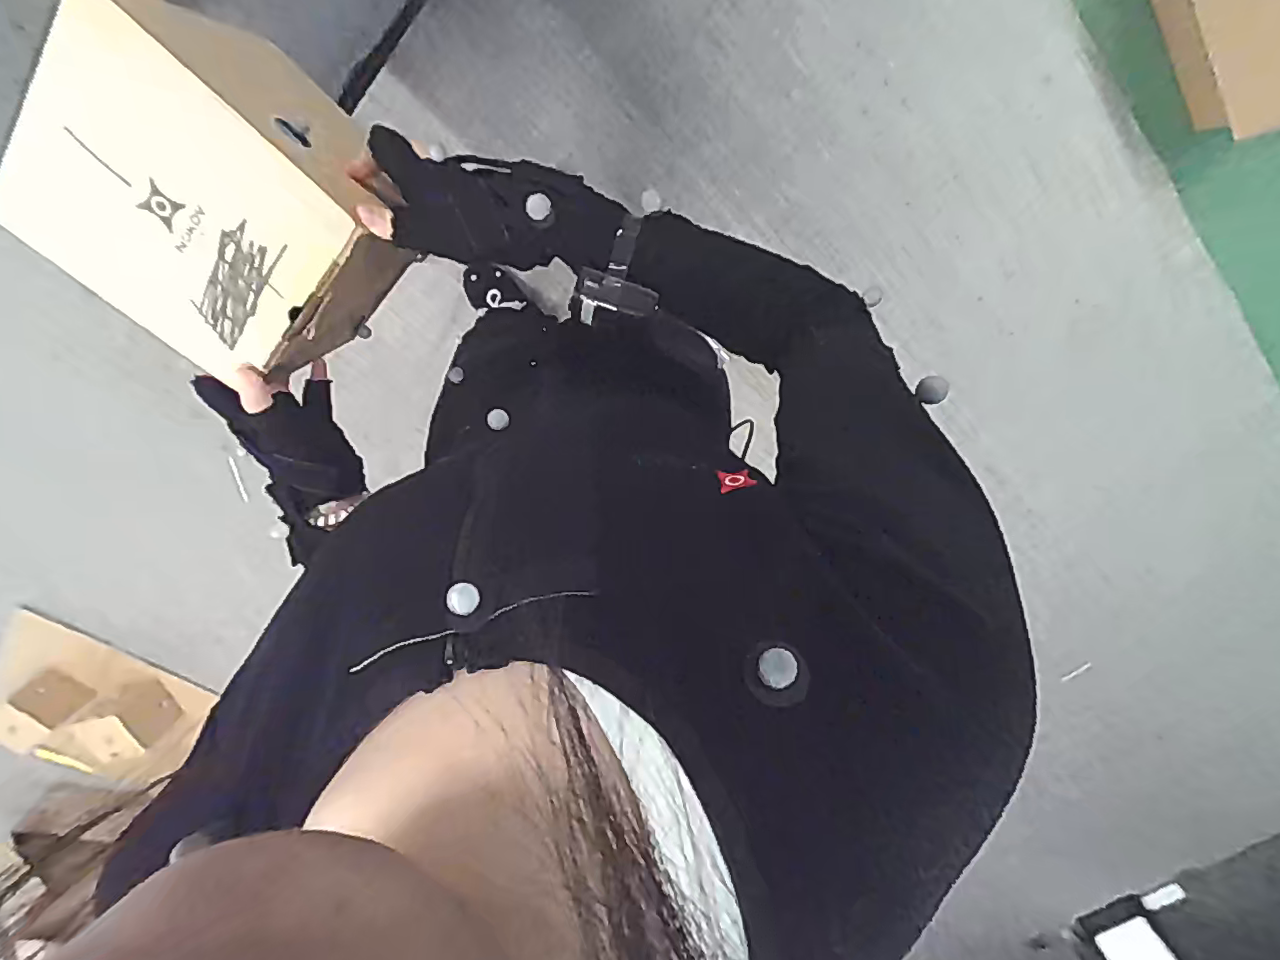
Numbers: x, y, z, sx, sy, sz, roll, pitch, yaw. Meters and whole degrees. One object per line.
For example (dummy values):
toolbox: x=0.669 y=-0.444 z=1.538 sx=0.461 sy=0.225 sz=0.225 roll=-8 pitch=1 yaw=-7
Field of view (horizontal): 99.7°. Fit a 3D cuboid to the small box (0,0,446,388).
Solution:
small box: x=-0.279 y=-0.206 z=0.404 sx=0.168 sy=0.176 sz=0.179 roll=-40 pitch=111 yaw=20
